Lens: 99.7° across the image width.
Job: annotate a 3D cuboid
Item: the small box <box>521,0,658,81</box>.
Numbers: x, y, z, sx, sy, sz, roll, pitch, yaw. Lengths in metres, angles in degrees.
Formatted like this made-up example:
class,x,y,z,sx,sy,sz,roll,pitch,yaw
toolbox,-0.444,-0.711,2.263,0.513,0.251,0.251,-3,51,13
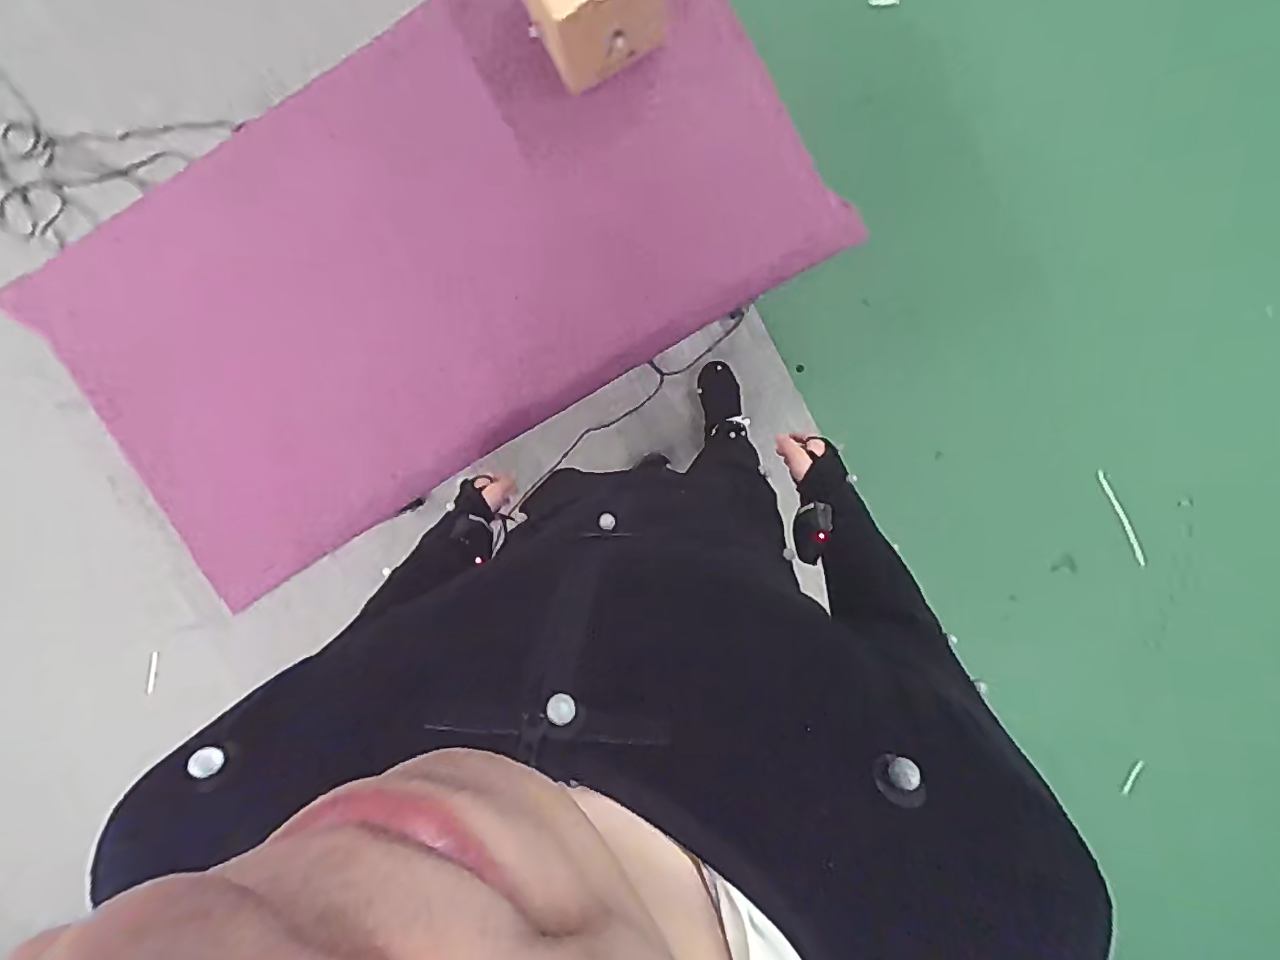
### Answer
class,x,y,z,sx,sy,sz,roll,pitch,yaw
small box,-0.080,-0.697,0.740,0.168,0.176,0.179,-29,97,4
